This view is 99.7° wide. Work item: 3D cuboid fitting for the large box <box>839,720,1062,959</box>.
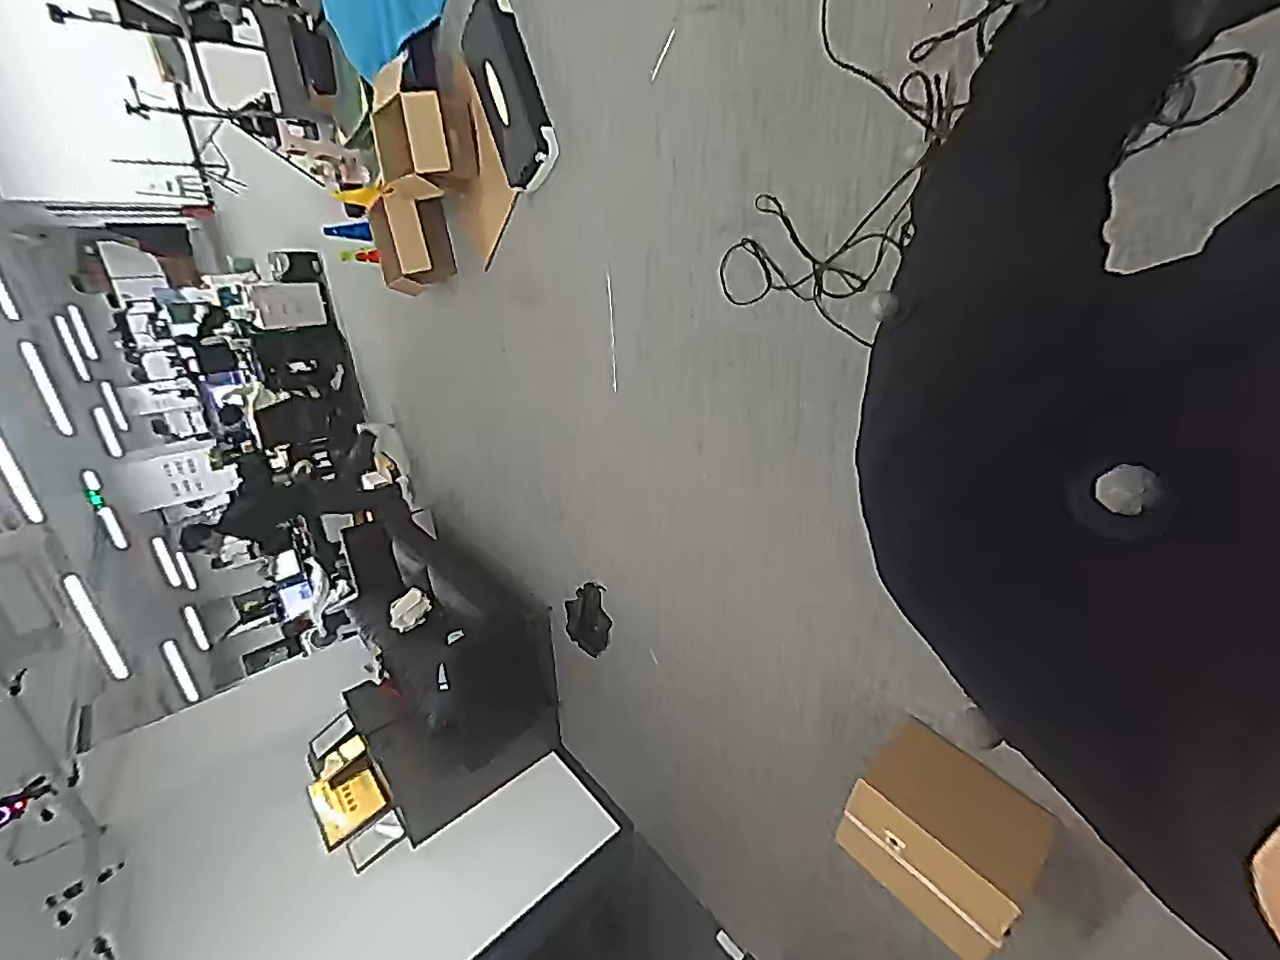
[{"bbox_3d":[0.837,0.969,1.491,0.408,0.320,0.320,32,129,41],"label":"large box"}]
